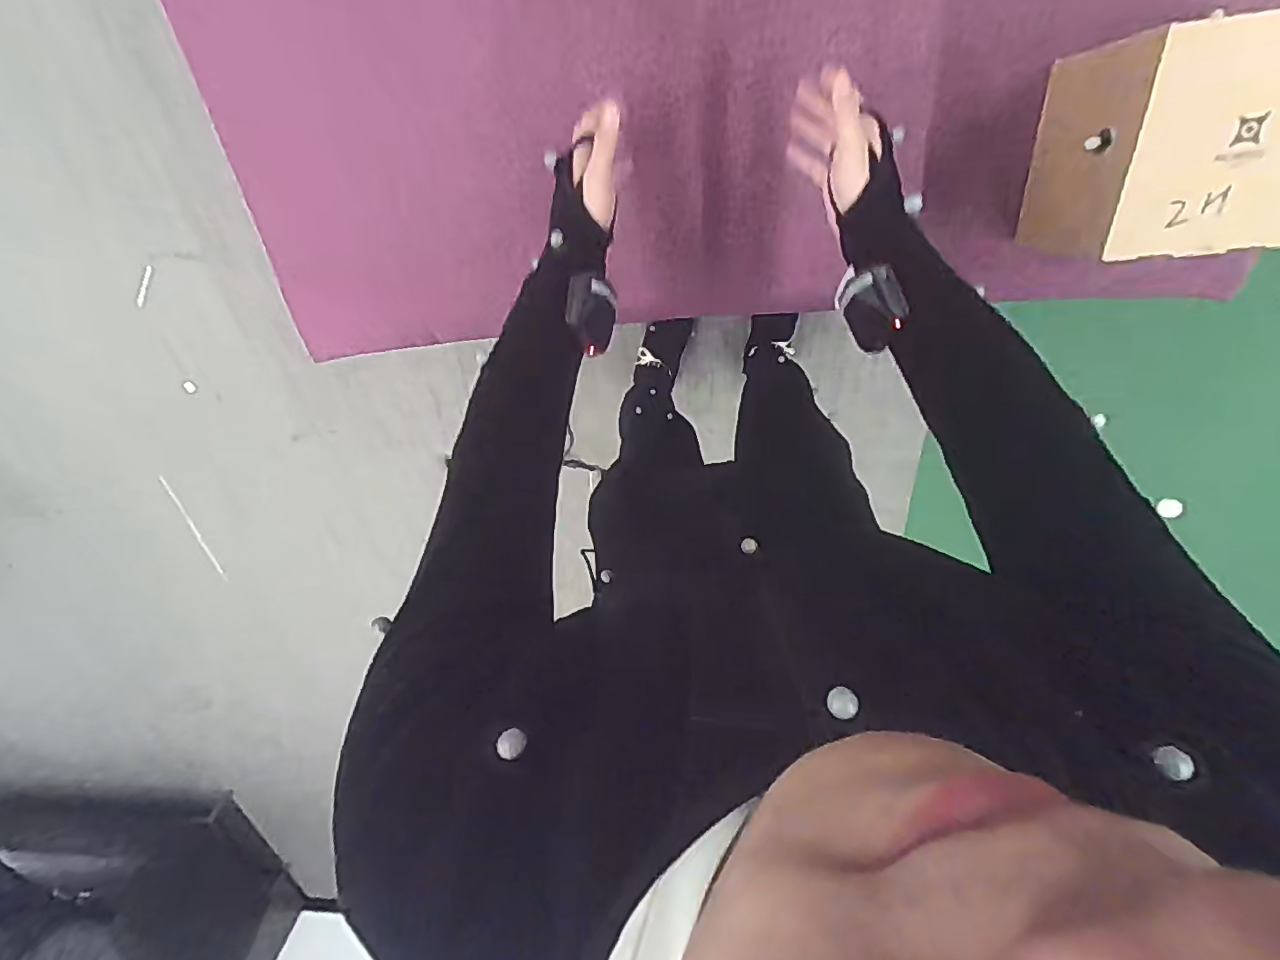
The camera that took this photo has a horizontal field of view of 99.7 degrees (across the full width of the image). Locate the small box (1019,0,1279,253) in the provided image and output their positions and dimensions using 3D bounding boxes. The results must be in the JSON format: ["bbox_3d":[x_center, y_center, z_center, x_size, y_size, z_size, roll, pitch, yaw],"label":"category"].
[{"bbox_3d":[0.502,-0.325,0.516,0.168,0.176,0.179,-1,120,9],"label":"small box"}]

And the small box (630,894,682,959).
[{"bbox_3d":[0.058,1.578,1.870,0.168,0.176,0.179,2,119,6],"label":"small box"}]
